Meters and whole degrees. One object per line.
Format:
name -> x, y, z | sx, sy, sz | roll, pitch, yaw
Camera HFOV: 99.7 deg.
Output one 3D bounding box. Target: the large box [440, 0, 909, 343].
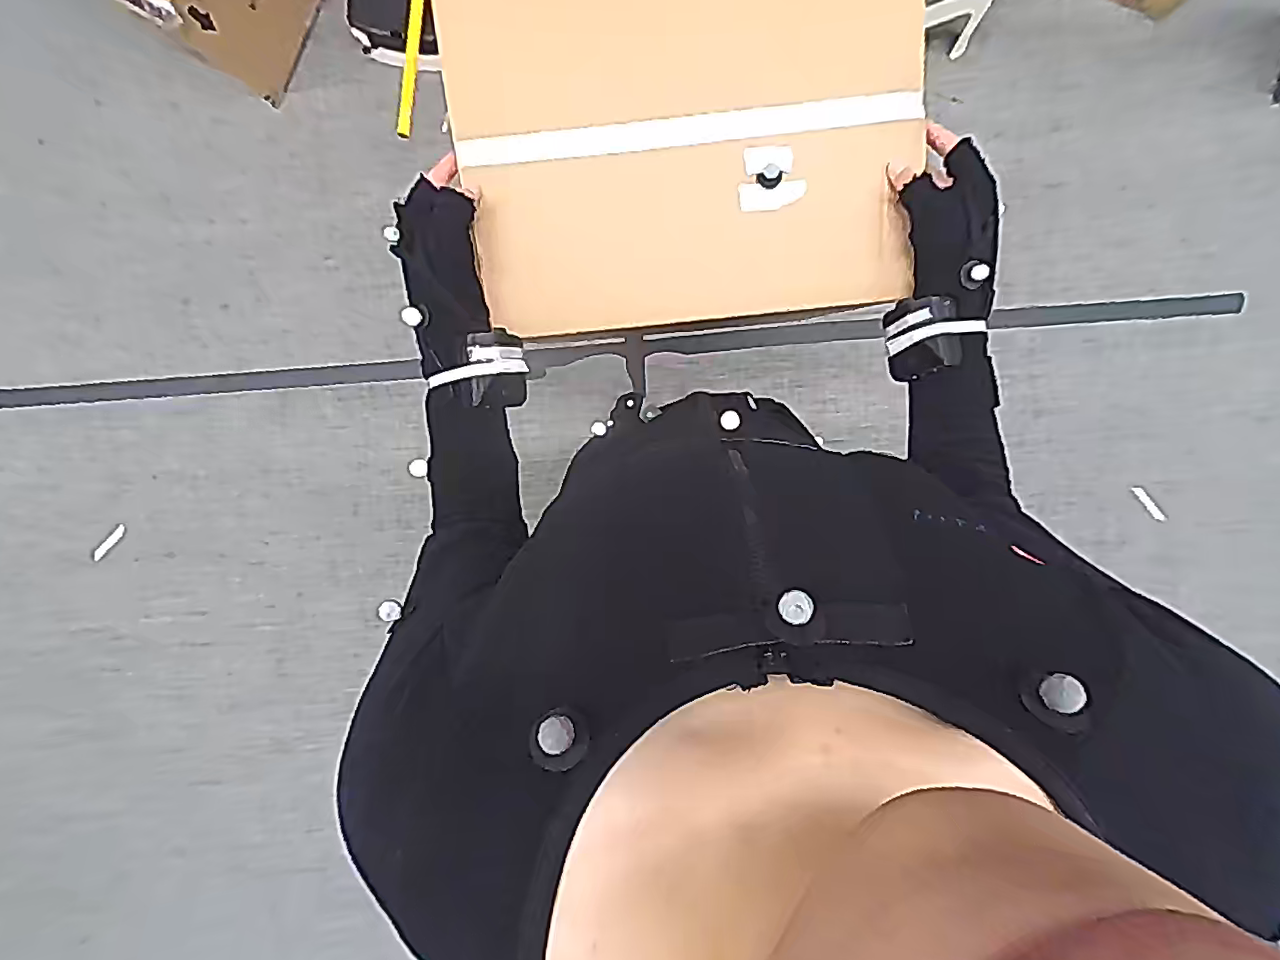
large box -> 0.036, -0.342, 0.625 | 0.408, 0.320, 0.320 | -6, 103, 0
